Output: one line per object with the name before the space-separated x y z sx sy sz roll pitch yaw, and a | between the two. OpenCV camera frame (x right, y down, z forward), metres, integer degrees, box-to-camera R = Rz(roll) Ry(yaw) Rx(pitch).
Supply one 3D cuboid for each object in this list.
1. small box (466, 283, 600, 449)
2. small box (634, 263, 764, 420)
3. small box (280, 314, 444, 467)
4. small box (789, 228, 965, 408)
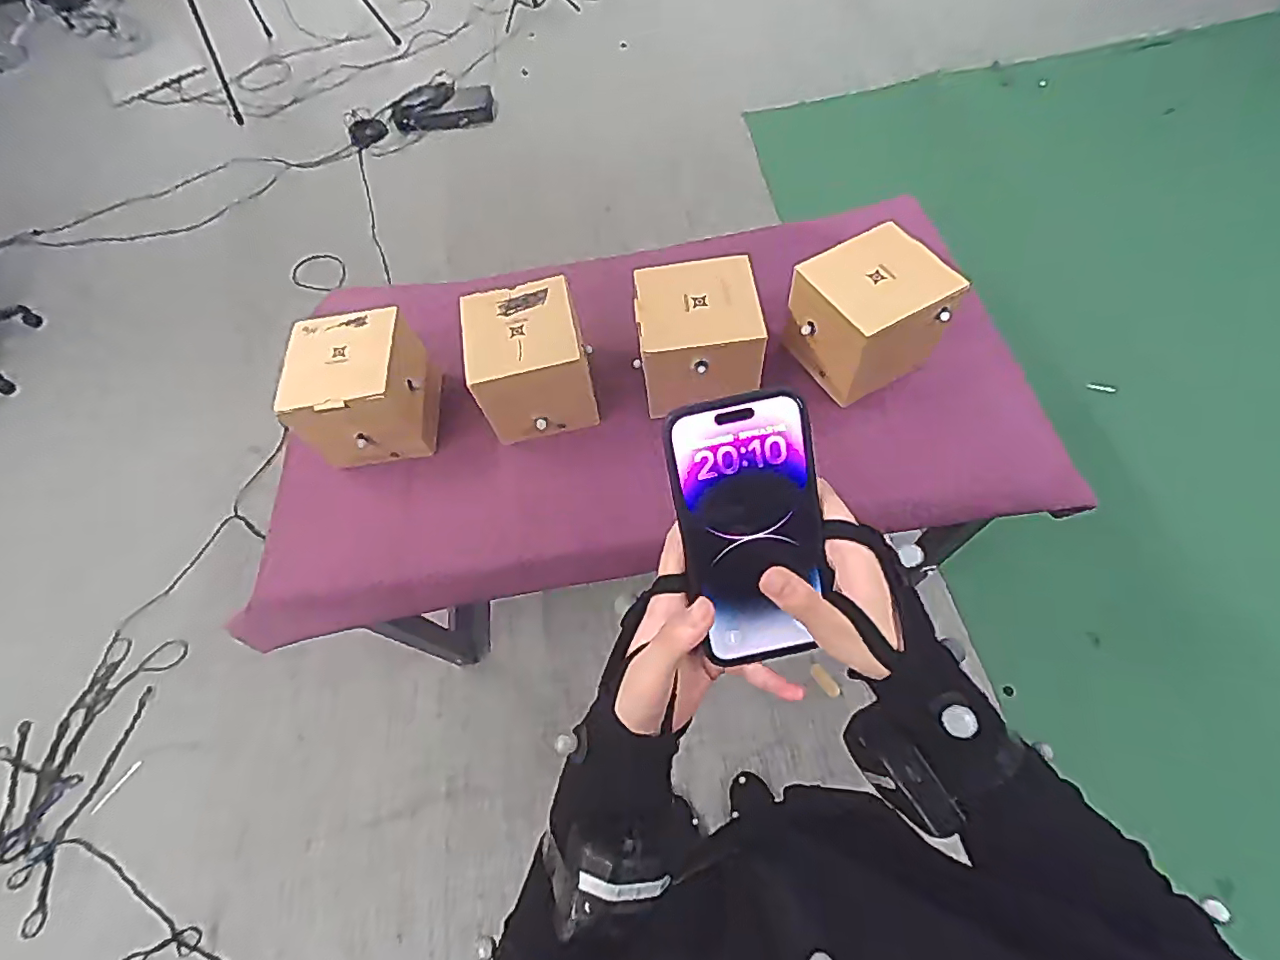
small box | -0.167 -0.177 0.863 0.168 0.176 0.179 -13 62 0
small box | 0.091 -0.209 0.850 0.179 0.176 0.168 -6 62 4
small box | -0.432 -0.134 0.873 0.168 0.176 0.179 -8 62 3
small box | 0.347 -0.243 0.836 0.179 0.176 0.168 -28 61 -8
